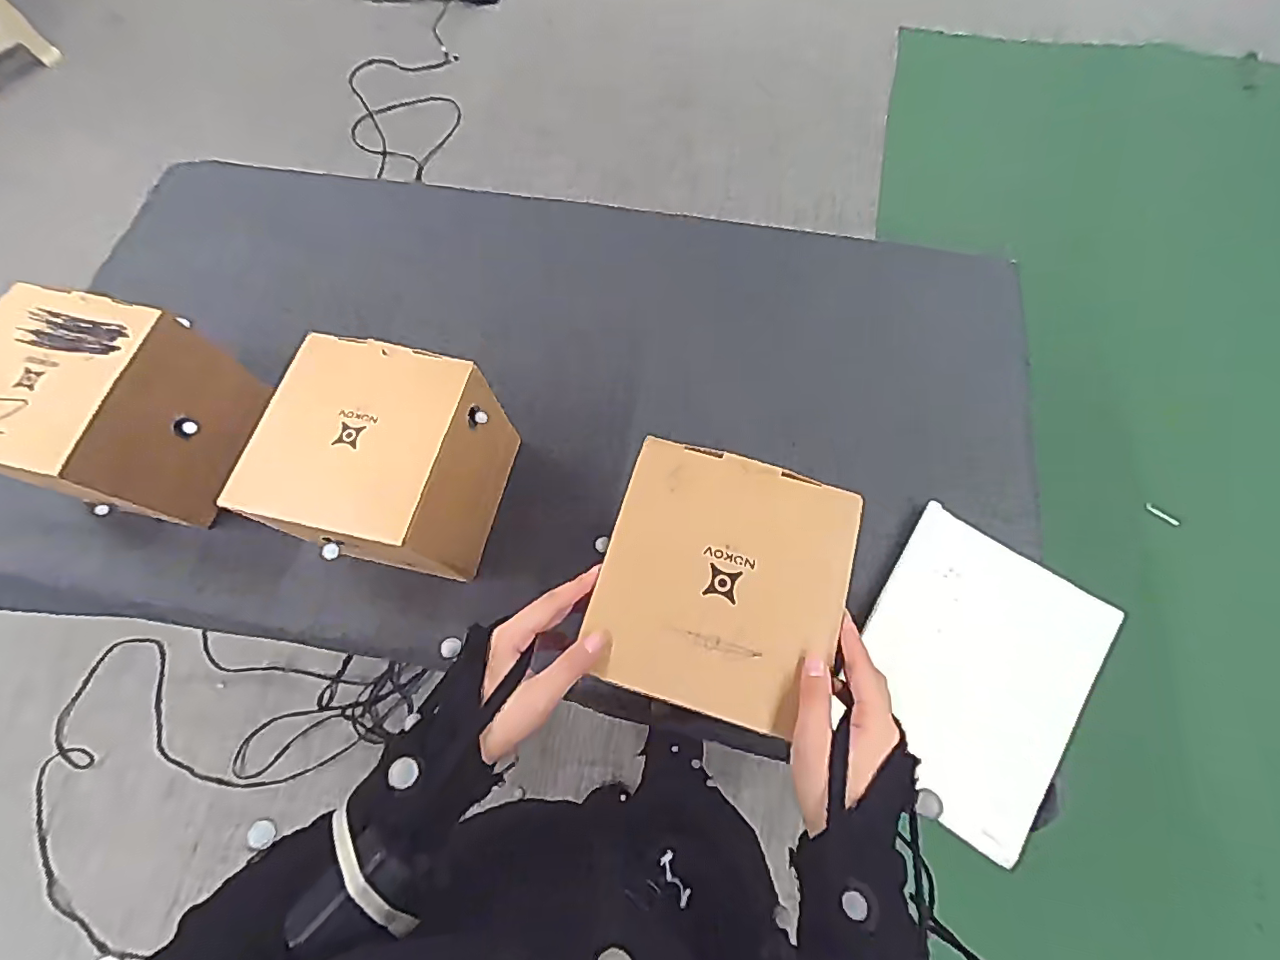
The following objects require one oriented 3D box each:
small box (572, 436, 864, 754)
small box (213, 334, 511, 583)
[{"bbox_3d":[0.057,0.093,0.437,0.168,0.176,0.179,16,72,6],"label":"small box"},{"bbox_3d":[-0.242,-0.010,0.526,0.168,0.176,0.179,11,69,7],"label":"small box"}]
